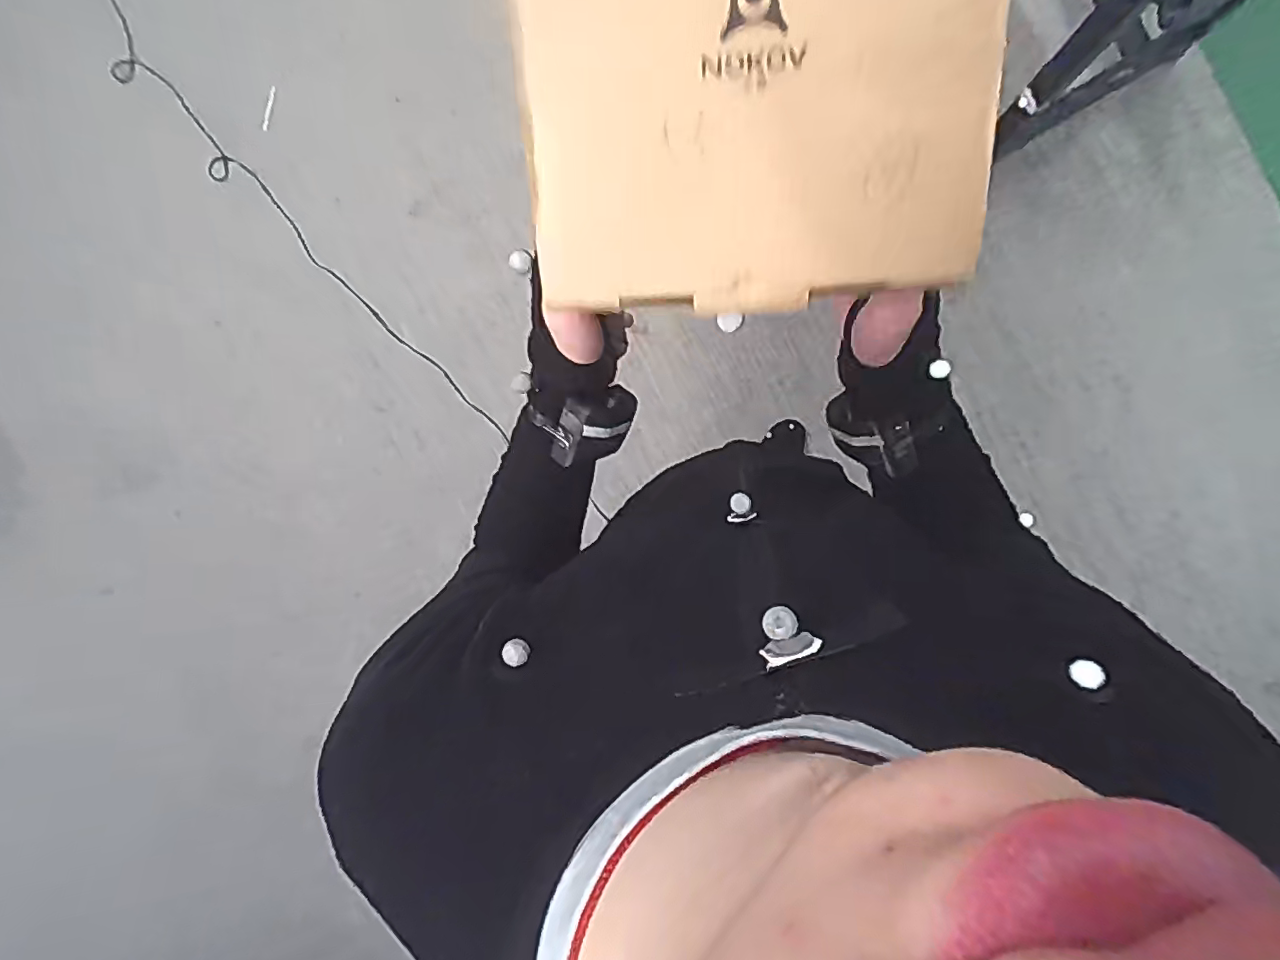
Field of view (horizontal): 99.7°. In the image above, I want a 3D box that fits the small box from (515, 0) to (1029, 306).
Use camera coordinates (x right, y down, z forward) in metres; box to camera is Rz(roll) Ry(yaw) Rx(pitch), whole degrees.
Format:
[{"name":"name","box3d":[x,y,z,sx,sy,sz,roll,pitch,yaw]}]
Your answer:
[{"name":"small box","box3d":[0.045,-0.177,0.251,0.168,0.176,0.179,-2,107,3]}]
